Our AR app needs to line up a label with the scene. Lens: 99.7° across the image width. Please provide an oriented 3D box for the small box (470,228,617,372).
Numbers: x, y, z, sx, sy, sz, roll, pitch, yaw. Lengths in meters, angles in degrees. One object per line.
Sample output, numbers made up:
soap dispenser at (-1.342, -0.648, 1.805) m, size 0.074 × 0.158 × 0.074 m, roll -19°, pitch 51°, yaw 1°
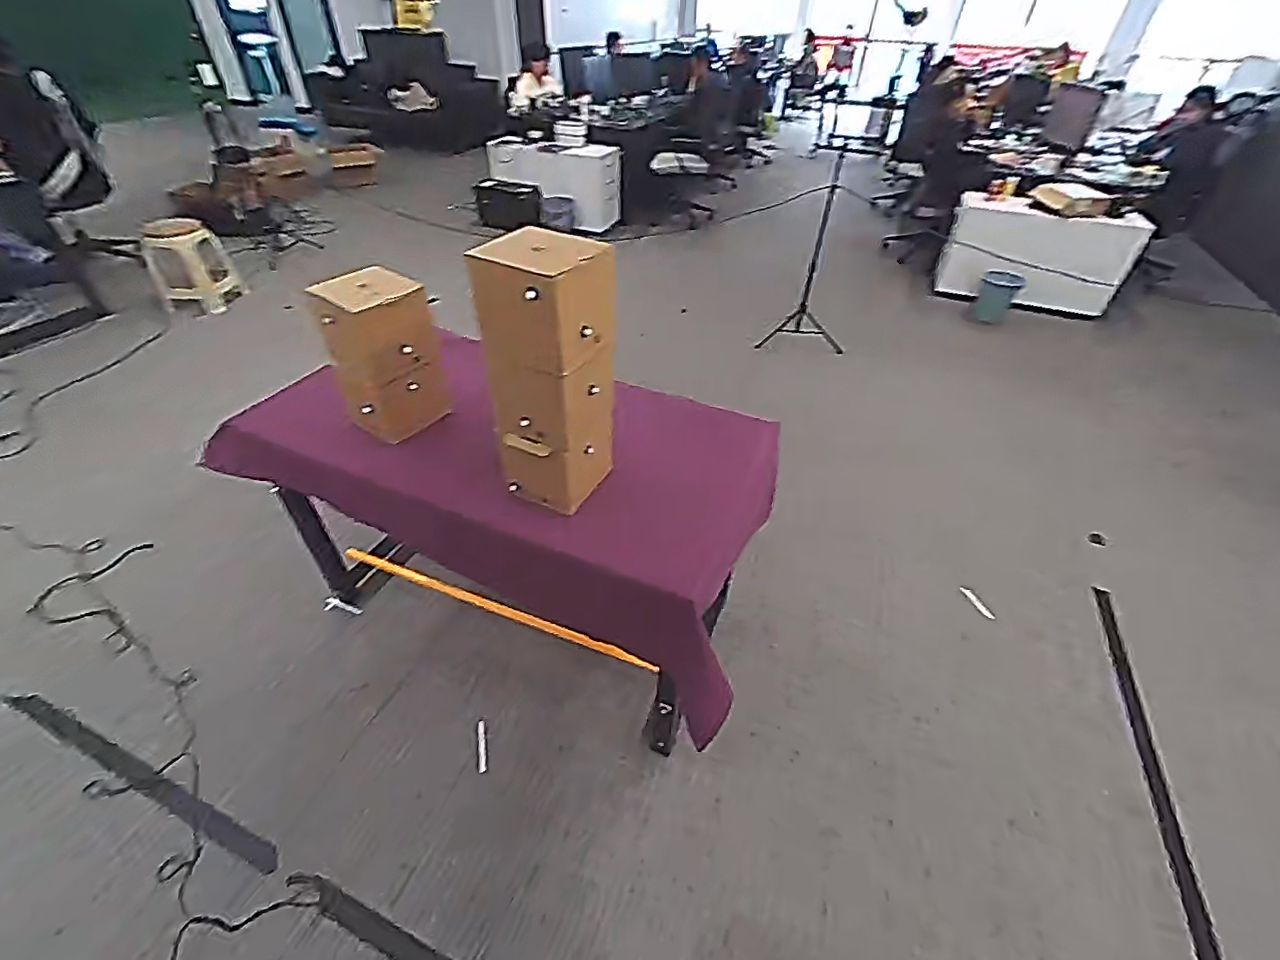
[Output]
small box at (-0.154, -0.303, 0.908) m, size 0.179 × 0.176 × 0.168 m, roll 22°, pitch 46°, yaw 20°

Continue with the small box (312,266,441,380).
small box at (-0.565, -0.340, 1.176) m, size 0.179 × 0.176 × 0.168 m, roll 28°, pitch 48°, yaw 24°

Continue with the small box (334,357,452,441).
small box at (-0.577, -0.219, 1.287) m, size 0.168 × 0.176 × 0.179 m, roll 27°, pitch 47°, yaw 24°

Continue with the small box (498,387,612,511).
small box at (-0.168, -0.064, 1.130) m, size 0.168 × 0.176 × 0.179 m, roll 20°, pitch 44°, yaw 18°
